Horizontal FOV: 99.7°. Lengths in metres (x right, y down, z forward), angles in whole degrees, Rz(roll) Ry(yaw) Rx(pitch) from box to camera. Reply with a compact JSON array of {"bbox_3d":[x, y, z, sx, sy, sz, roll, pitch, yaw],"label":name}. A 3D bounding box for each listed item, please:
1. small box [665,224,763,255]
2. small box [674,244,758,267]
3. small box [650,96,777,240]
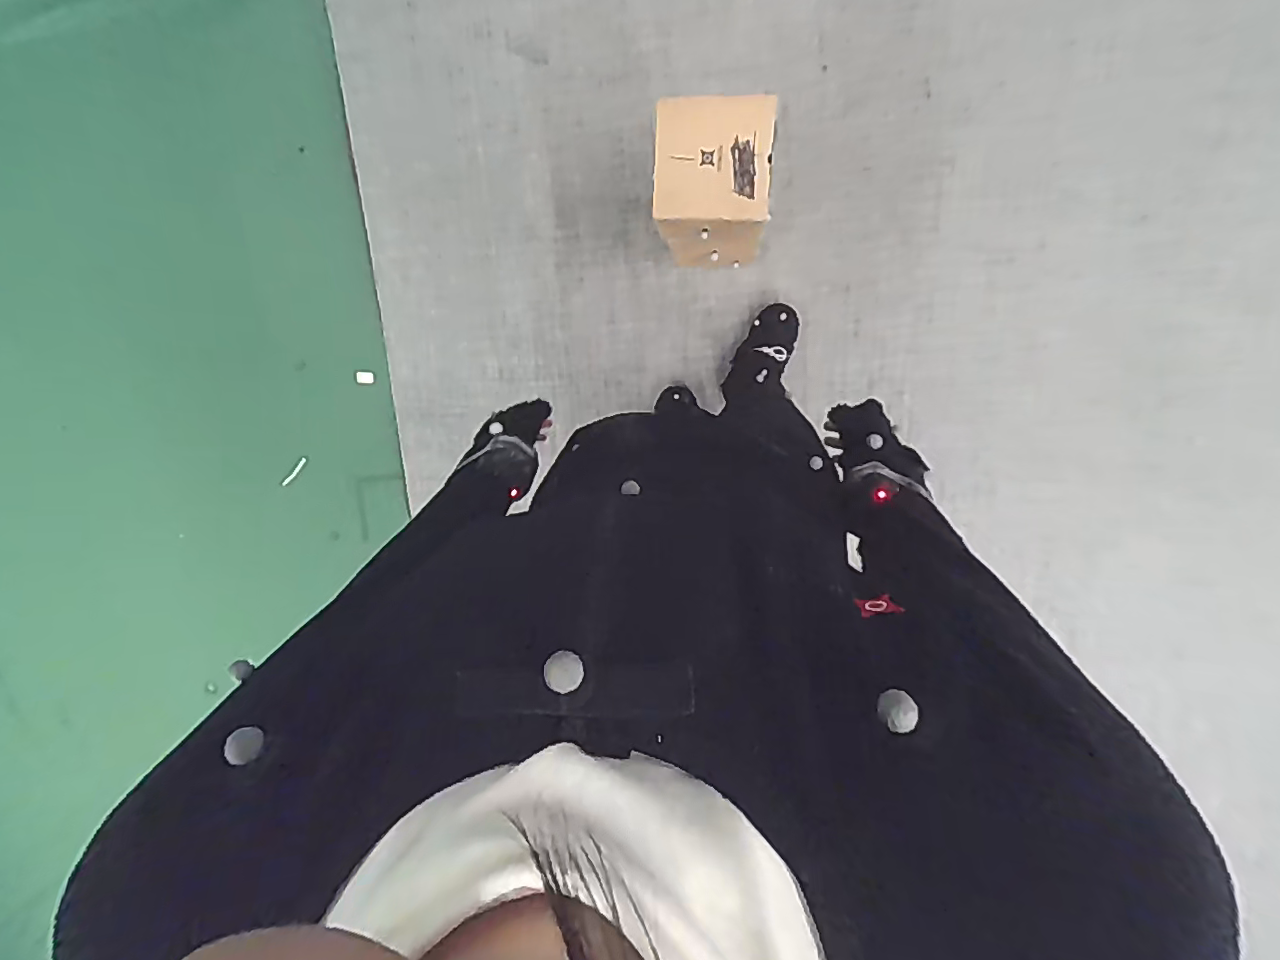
[{"bbox_3d":[0.143,-0.532,1.033,0.179,0.176,0.168,3,104,7],"label":"small box"},{"bbox_3d":[0.168,-0.569,1.191,0.179,0.176,0.168,1,104,9],"label":"small box"},{"bbox_3d":[0.117,-0.494,0.875,0.179,0.176,0.168,6,105,8],"label":"small box"}]
